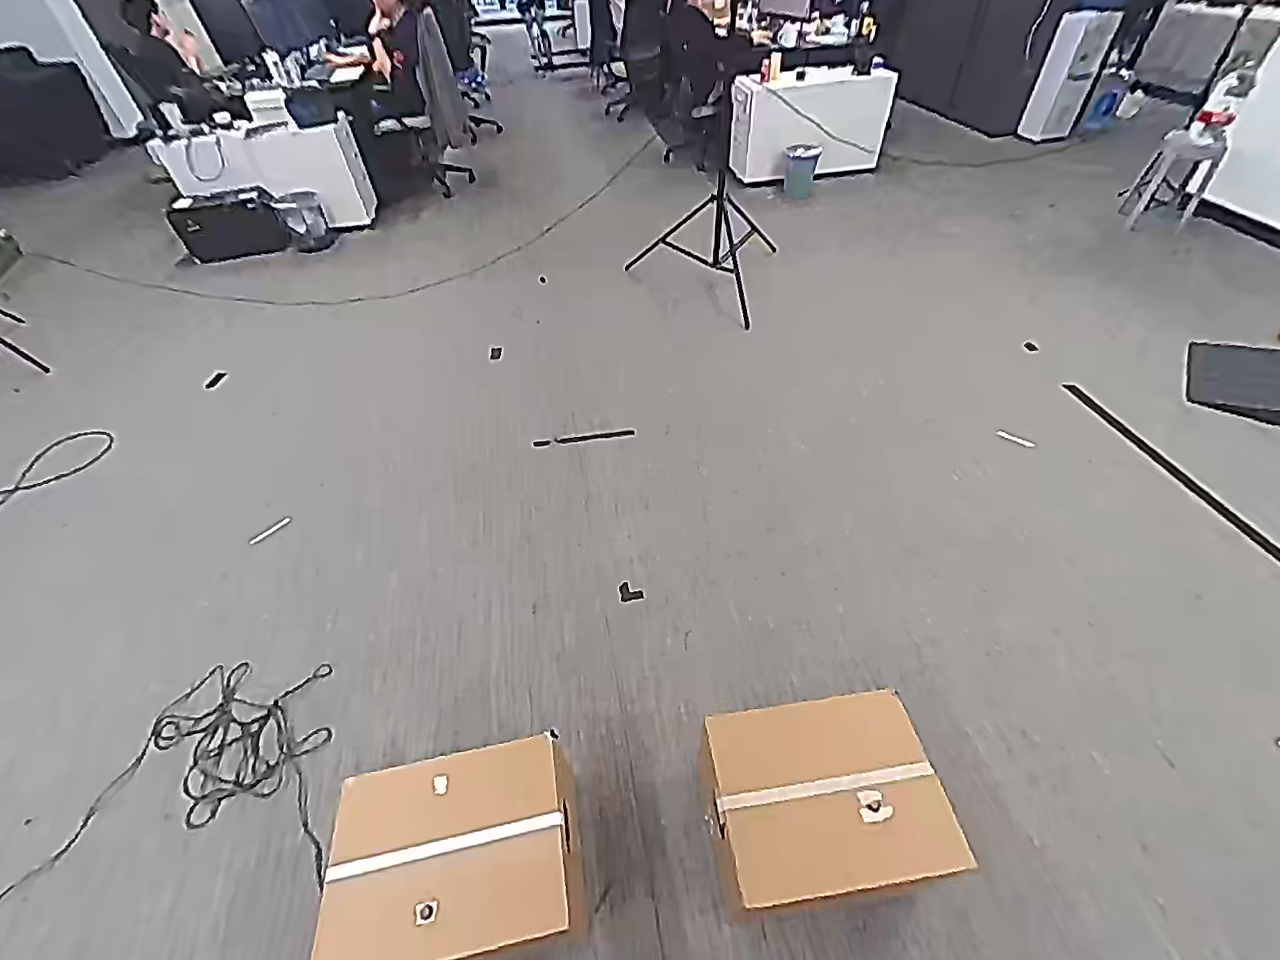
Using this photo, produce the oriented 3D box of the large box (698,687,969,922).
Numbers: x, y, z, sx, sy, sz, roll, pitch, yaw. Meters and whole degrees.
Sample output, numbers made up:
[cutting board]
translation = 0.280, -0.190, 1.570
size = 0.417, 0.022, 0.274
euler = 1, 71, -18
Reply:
[large box]
translation = 0.353, 0.670, 1.118
size = 0.408, 0.320, 0.320
euler = -6, 47, -4
